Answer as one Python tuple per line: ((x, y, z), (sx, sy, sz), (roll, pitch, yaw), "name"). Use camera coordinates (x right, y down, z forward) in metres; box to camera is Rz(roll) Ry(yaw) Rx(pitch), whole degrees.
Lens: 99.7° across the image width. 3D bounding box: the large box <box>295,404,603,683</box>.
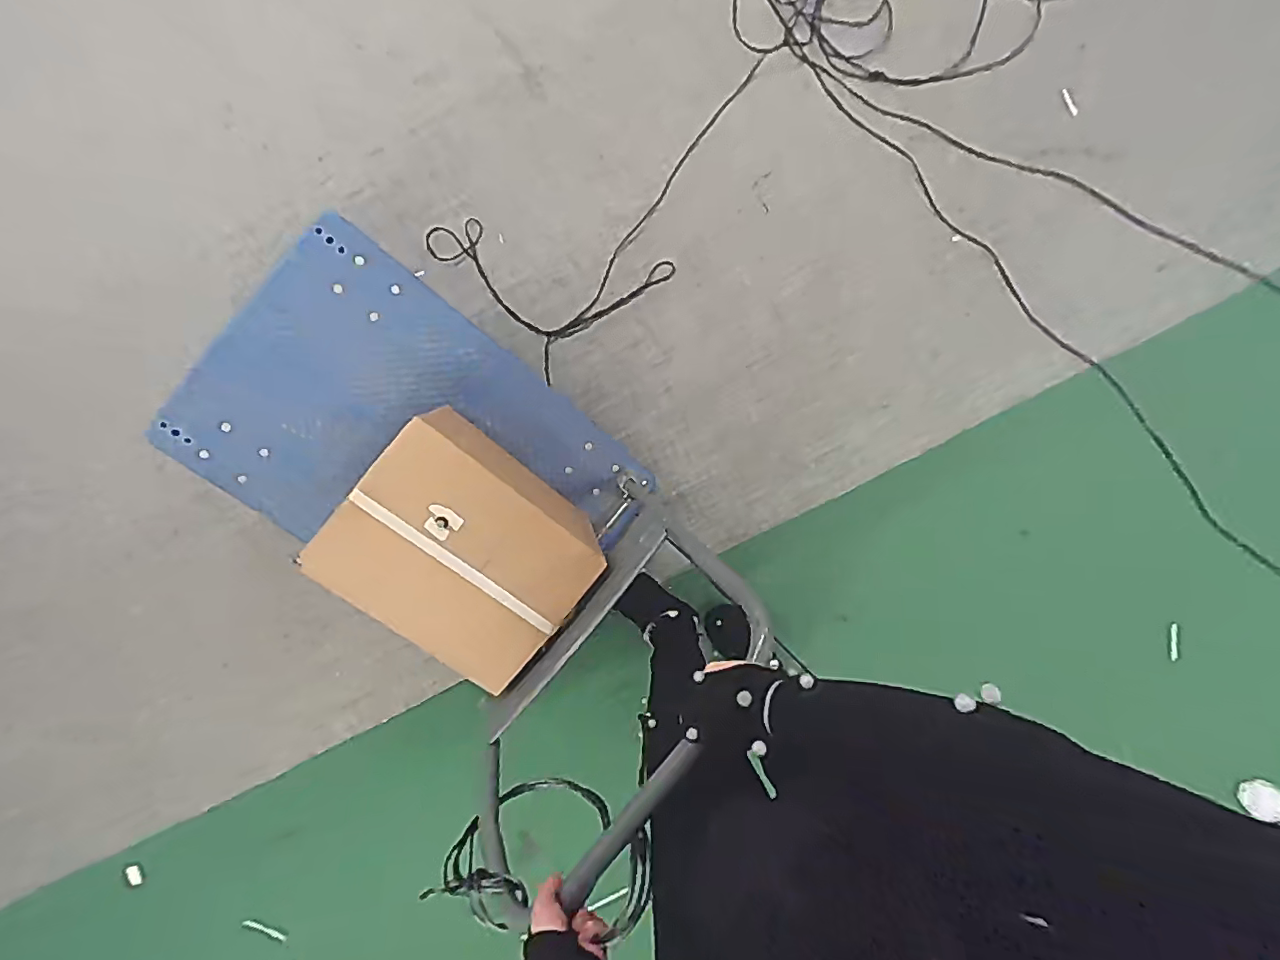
((-0.332, 0.102, 1.048), (0.408, 0.320, 0.320), (39, 91, -15), "large box")
